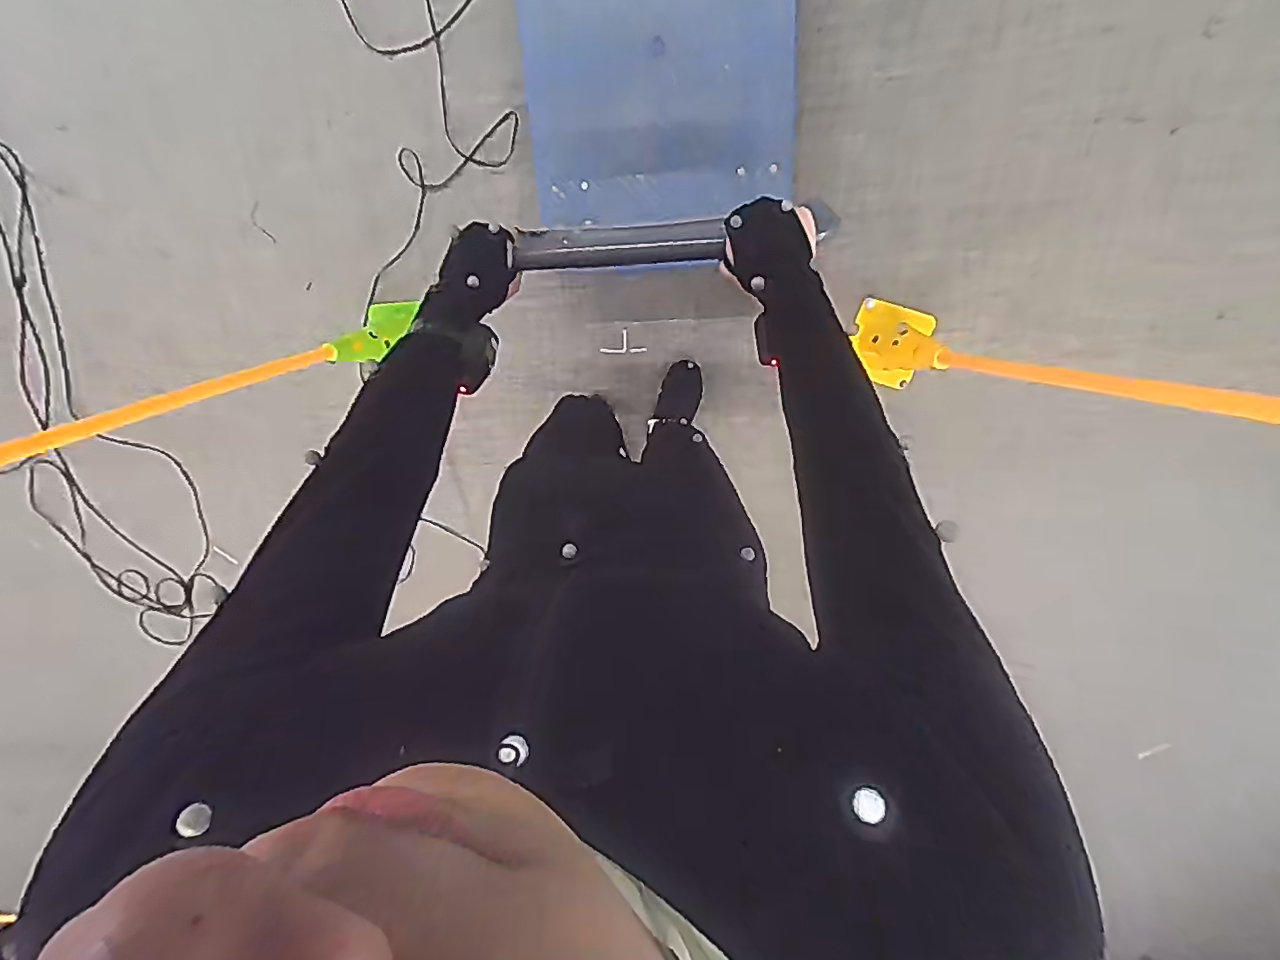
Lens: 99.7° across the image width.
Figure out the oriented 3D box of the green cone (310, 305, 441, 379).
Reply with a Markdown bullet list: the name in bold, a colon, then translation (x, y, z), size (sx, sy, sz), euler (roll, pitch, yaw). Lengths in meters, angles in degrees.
- **green cone**: translation (-0.699, -0.338, 1.385), size (0.202, 0.368, 0.200), euler (-2, 108, 8)
